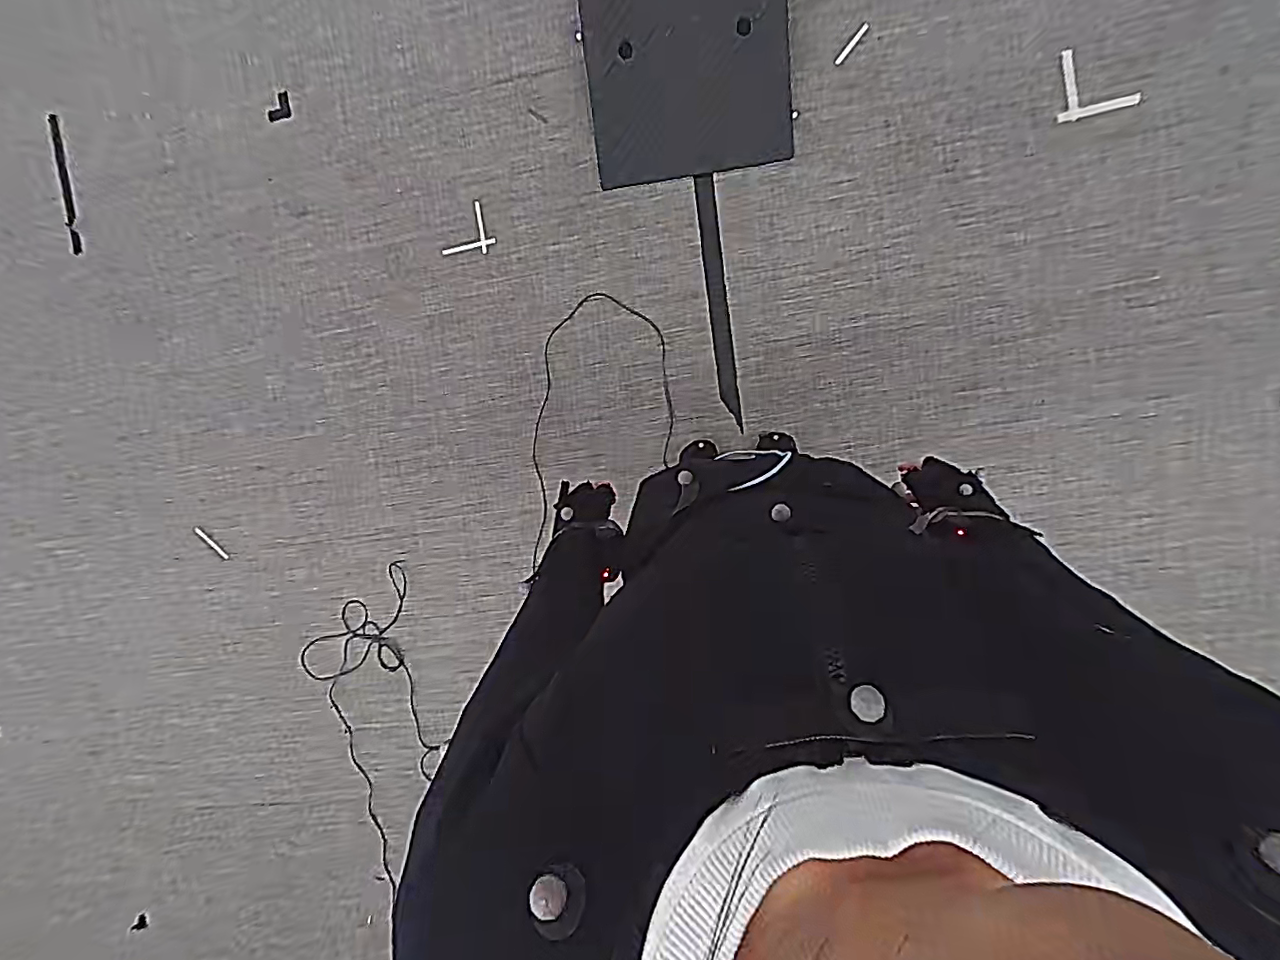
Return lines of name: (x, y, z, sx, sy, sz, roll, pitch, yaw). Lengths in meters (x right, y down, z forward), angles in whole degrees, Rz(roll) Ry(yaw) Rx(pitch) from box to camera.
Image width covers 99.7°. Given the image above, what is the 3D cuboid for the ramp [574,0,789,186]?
ramp: (0.072, -1.261, 1.244, 0.509, 0.206, 0.991, -7, 95, 7)
